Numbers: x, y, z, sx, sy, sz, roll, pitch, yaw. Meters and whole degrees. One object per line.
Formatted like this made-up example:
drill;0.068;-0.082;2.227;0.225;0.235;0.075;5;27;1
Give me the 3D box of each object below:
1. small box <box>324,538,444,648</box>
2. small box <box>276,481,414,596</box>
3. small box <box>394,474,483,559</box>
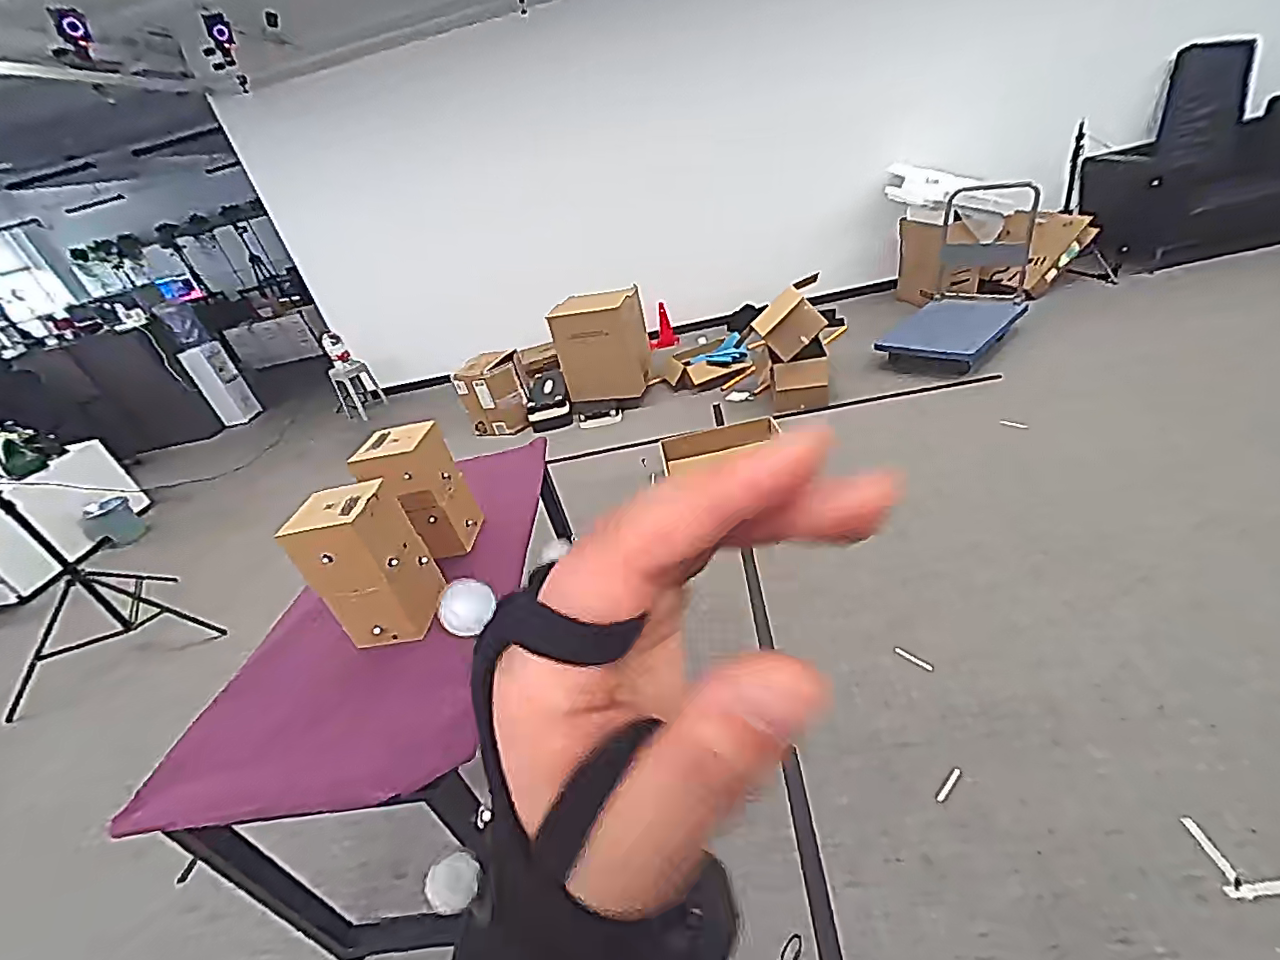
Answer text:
small box;-0.581;0.262;1.260;0.168;0.176;0.179;-10;32;8
small box;-0.625;0.128;1.175;0.179;0.176;0.168;-12;31;7
small box;-0.563;0.109;1.496;0.179;0.176;0.168;-11;32;8
